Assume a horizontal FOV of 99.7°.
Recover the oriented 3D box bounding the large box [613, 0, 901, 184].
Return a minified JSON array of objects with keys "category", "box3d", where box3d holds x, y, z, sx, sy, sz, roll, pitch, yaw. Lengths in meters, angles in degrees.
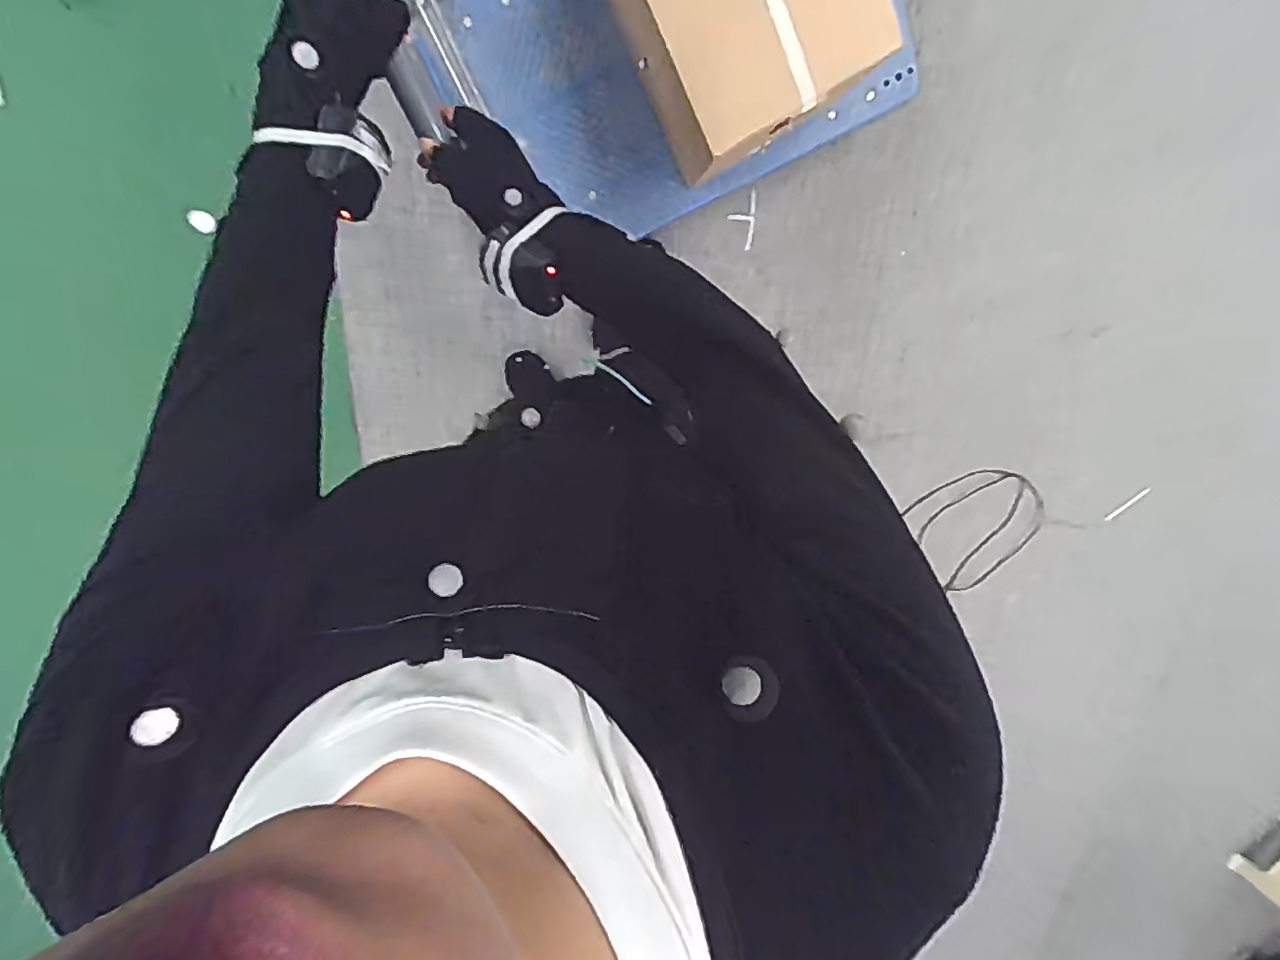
[{"category":"large box","box3d":[0.158,-0.788,0.898,0.320,0.320,0.408,-27,108,8]}]
